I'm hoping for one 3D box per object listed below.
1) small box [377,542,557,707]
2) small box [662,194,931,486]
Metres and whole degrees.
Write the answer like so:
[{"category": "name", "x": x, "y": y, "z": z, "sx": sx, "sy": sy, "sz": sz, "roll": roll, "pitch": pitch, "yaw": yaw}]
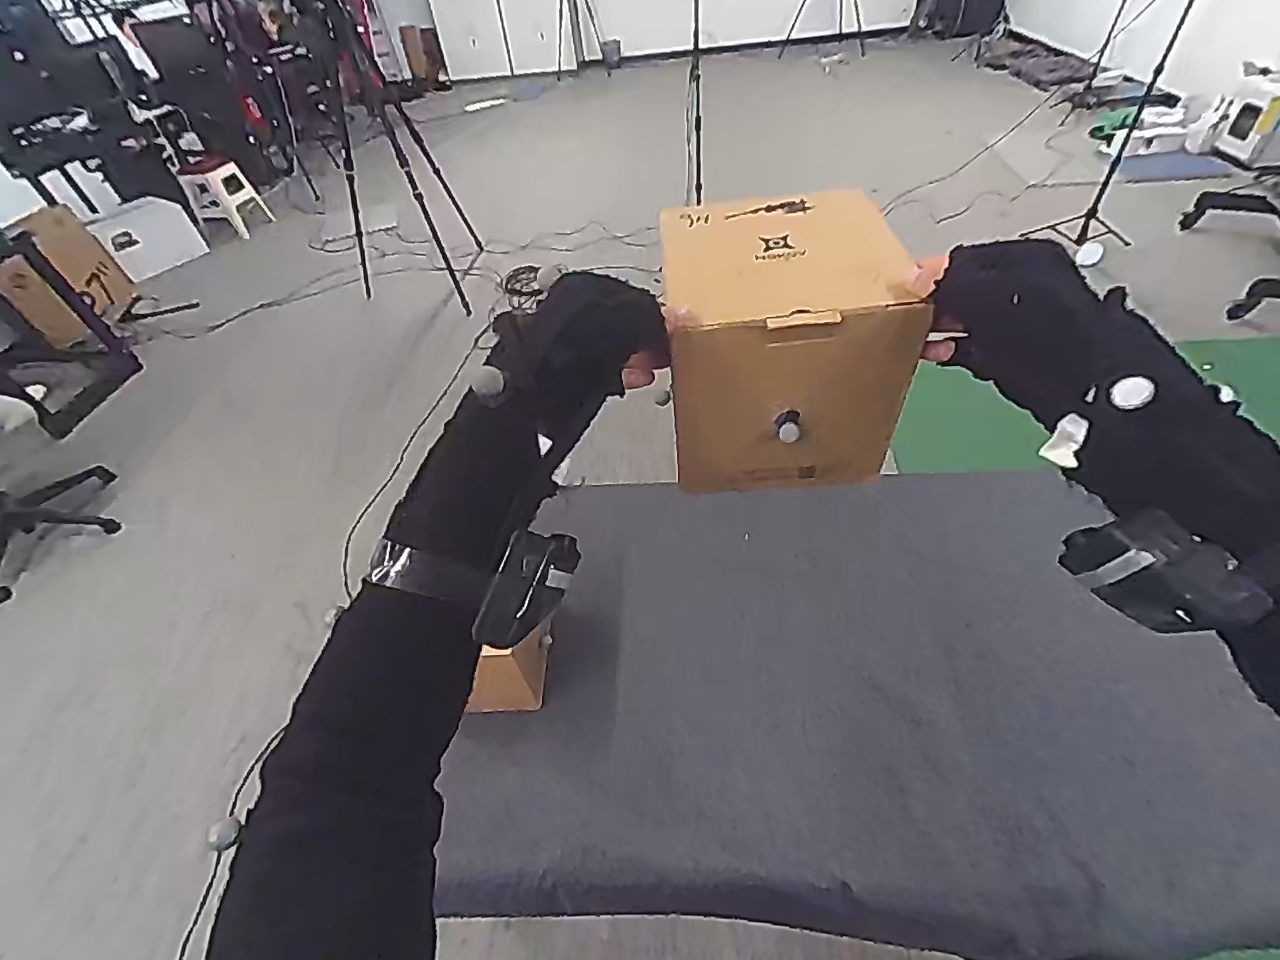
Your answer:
[{"category": "small box", "x": -0.224, "y": 0.205, "z": 0.755, "sx": 0.179, "sy": 0.176, "sz": 0.168, "roll": -3, "pitch": 47, "yaw": 3}, {"category": "small box", "x": 0.109, "y": -0.107, "z": 0.451, "sx": 0.168, "sy": 0.176, "sz": 0.179, "roll": -4, "pitch": 50, "yaw": 4}]
